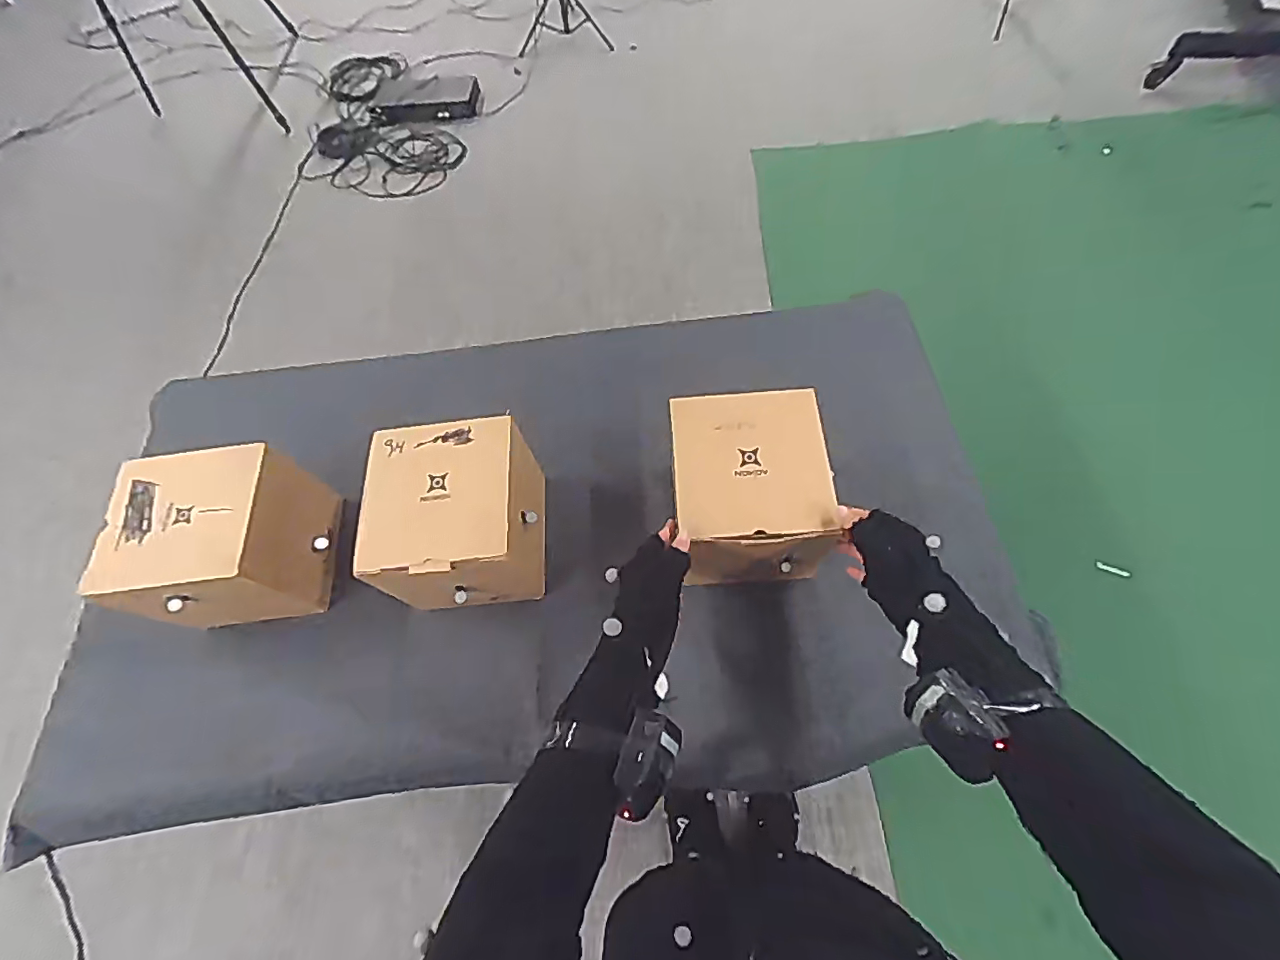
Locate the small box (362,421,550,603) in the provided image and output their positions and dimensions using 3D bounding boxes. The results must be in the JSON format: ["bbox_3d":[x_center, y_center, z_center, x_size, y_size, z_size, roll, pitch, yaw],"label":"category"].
[{"bbox_3d":[-0.210,0.049,0.669,0.168,0.176,0.179,-5,64,2],"label":"small box"}]

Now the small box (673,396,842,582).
[{"bbox_3d":[0.128,0.021,0.655,0.168,0.176,0.179,-3,63,2],"label":"small box"}]

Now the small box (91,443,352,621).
[{"bbox_3d":[-0.502,0.074,0.681,0.179,0.176,0.168,-7,64,0],"label":"small box"}]
